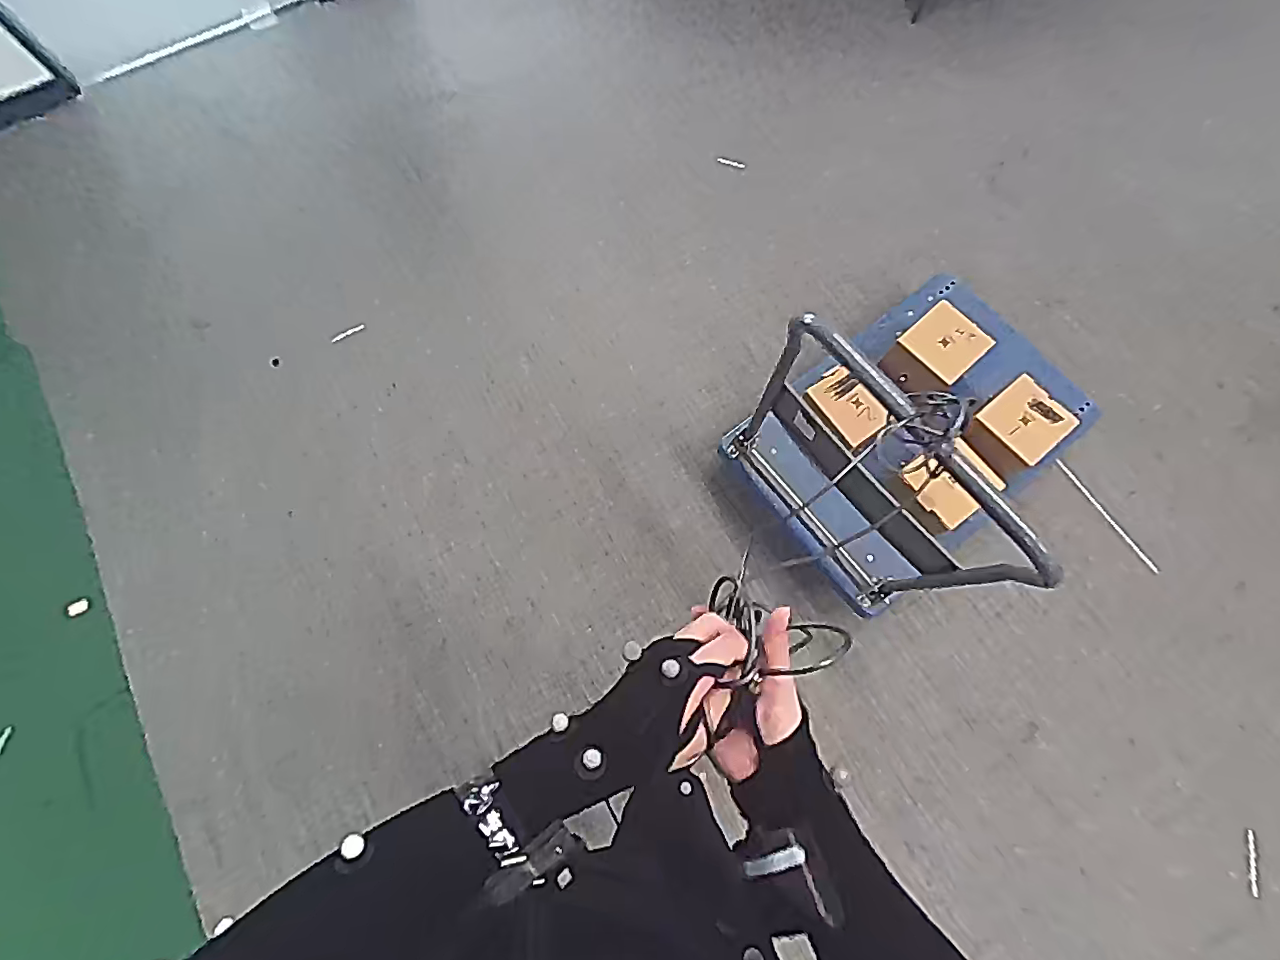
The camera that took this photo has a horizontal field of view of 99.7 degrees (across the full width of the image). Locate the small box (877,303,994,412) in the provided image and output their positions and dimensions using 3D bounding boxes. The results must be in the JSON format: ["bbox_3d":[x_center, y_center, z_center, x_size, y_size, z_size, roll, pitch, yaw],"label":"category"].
[{"bbox_3d":[0.735,-0.304,1.376,0.179,0.176,0.168,-40,78,-11],"label":"small box"}]

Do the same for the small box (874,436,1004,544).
[{"bbox_3d":[0.693,0.030,1.278,0.179,0.176,0.168,-35,76,-8],"label":"small box"}]

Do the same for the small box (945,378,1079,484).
[{"bbox_3d":[0.890,-0.109,1.315,0.179,0.176,0.168,-38,76,-9],"label":"small box"}]
